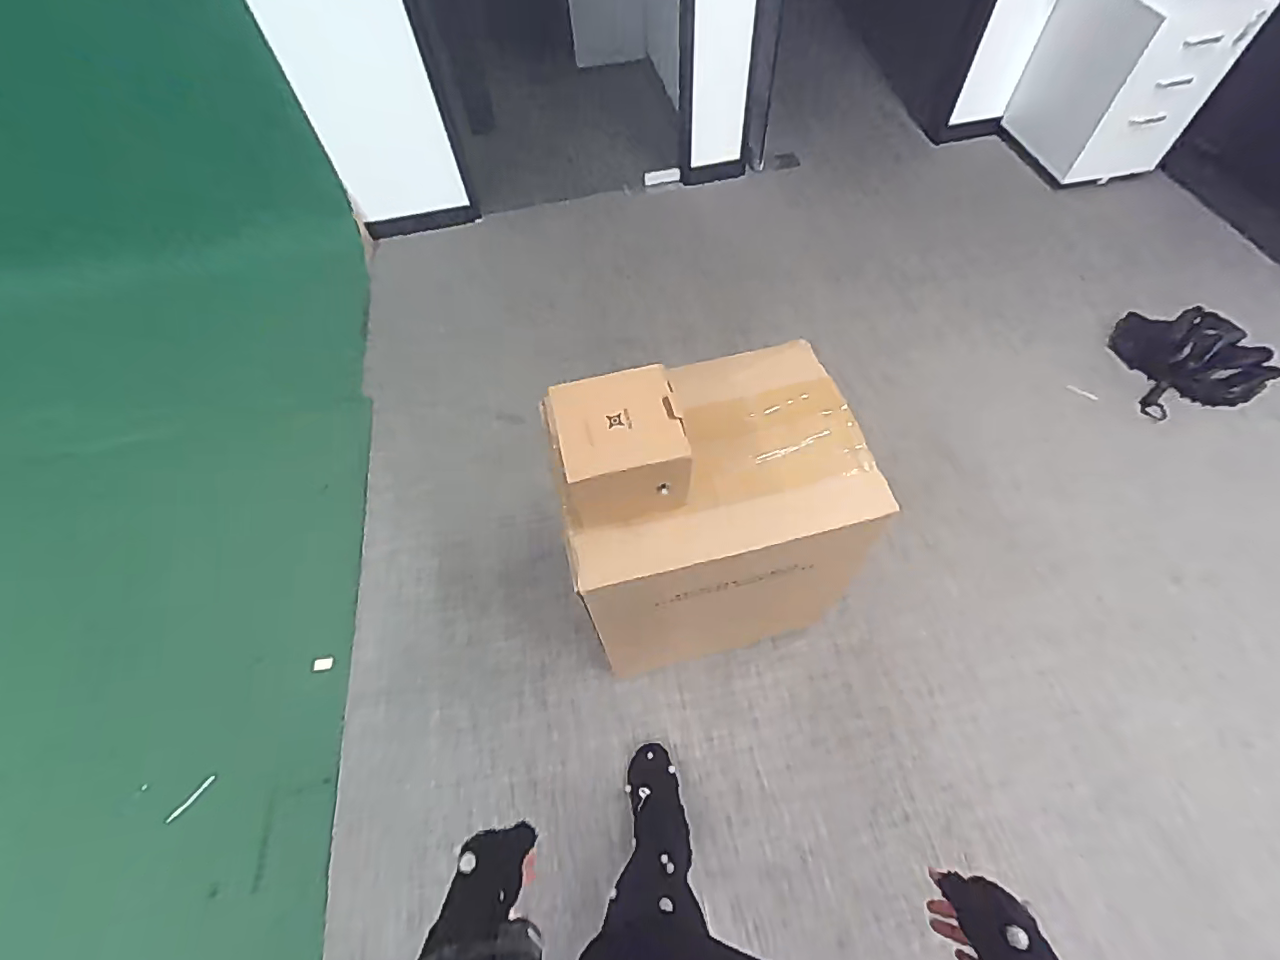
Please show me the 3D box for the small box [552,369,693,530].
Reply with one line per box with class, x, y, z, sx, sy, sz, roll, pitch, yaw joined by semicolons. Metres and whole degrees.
small box;-0.025;-0.041;0.842;0.179;0.176;0.168;-14;62;-3
